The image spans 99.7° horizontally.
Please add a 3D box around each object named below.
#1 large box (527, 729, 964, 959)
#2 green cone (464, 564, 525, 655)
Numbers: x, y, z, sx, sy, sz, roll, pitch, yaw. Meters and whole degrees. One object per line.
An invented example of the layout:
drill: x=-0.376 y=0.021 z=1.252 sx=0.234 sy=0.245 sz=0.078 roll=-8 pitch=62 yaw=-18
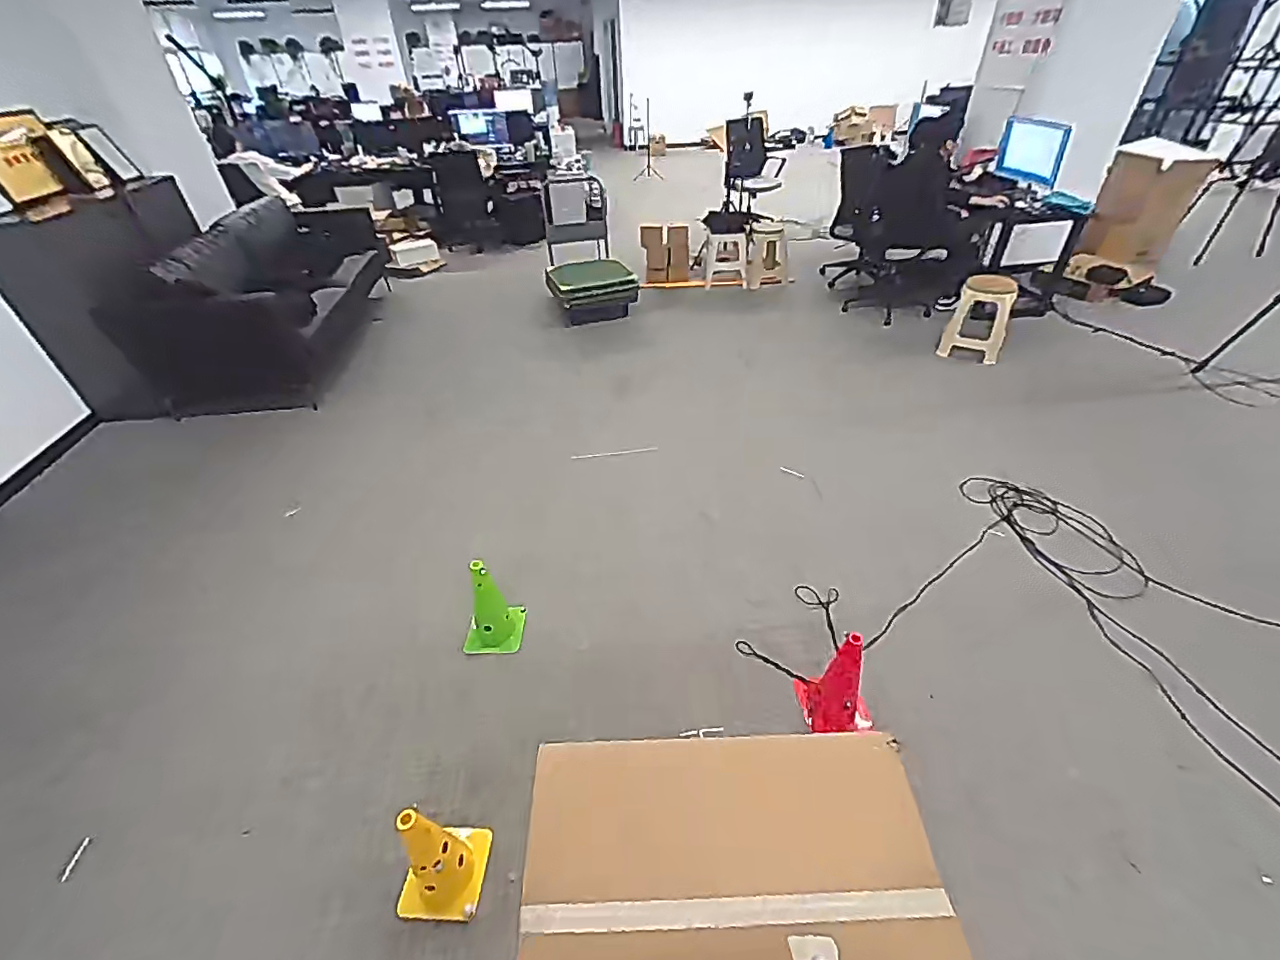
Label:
large box: x=0.096 y=0.513 z=0.622 sx=0.408 sy=0.320 sz=0.320 roll=-3 pitch=46 yaw=0
green cone: x=-0.539 y=0.422 z=1.880 sx=0.200 sy=0.368 sz=0.202 roll=-3 pitch=40 yaw=0
